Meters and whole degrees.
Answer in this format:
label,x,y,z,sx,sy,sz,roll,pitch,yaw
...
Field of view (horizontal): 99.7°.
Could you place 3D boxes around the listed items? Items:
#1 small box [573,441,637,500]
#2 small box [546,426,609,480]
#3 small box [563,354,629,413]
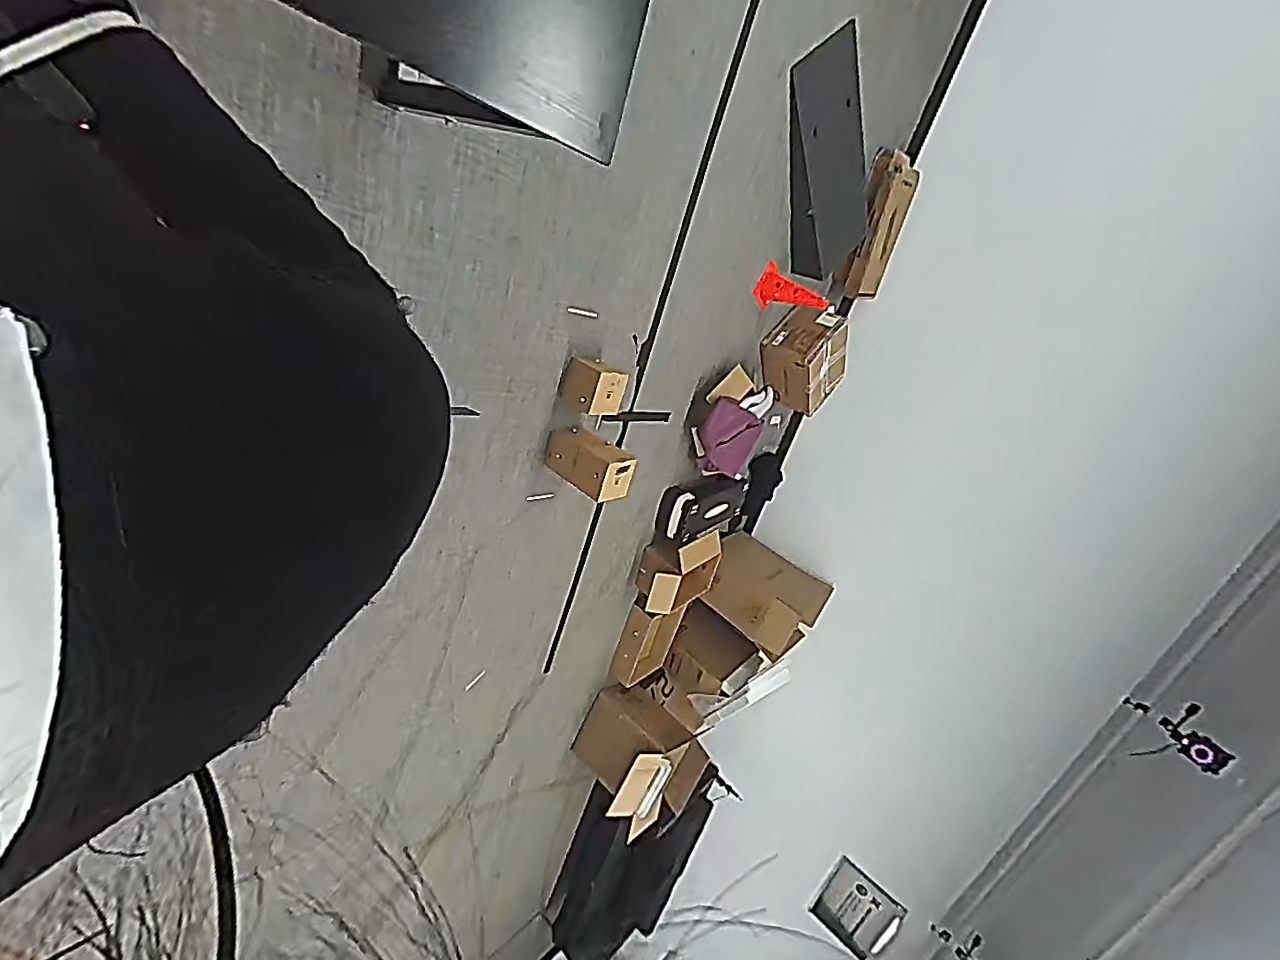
label,x,y,z,sx,sy,sz,roll,pitch,yaw
small box,-0.145,-0.045,2.153,0.168,0.176,0.179,-12,128,-49
small box,-0.264,-0.116,2.244,0.179,0.176,0.168,-12,127,-49
small box,-0.178,-0.376,2.126,0.168,0.176,0.179,-8,124,-52
